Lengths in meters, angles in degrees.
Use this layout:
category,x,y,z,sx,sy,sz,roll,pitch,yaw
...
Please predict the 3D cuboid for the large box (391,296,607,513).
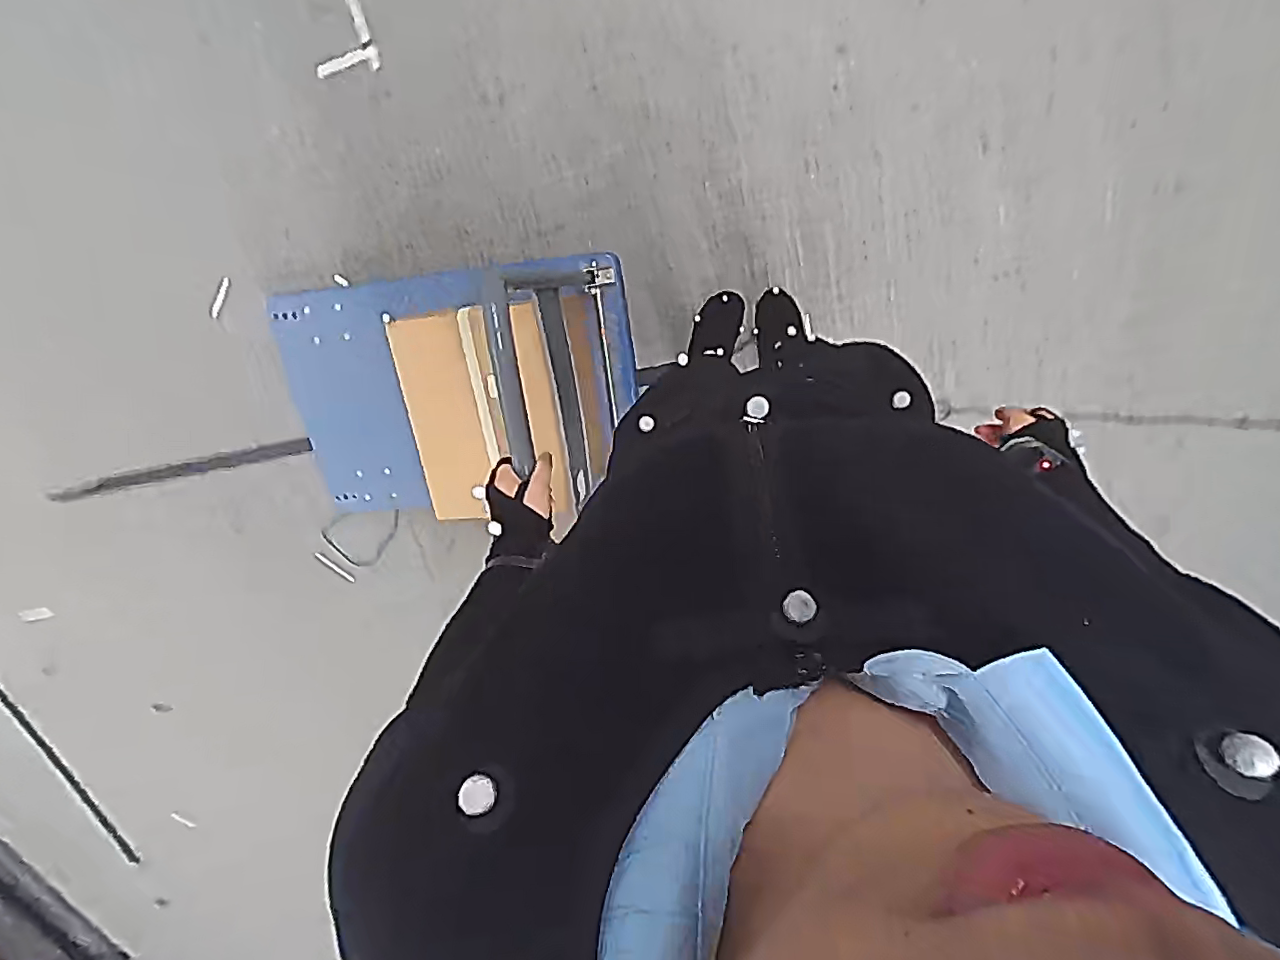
category,x,y,z,sx,sy,sz,roll,pitch,yaw
large box,-0.273,-0.175,1.185,0.320,0.320,0.408,-4,109,7
